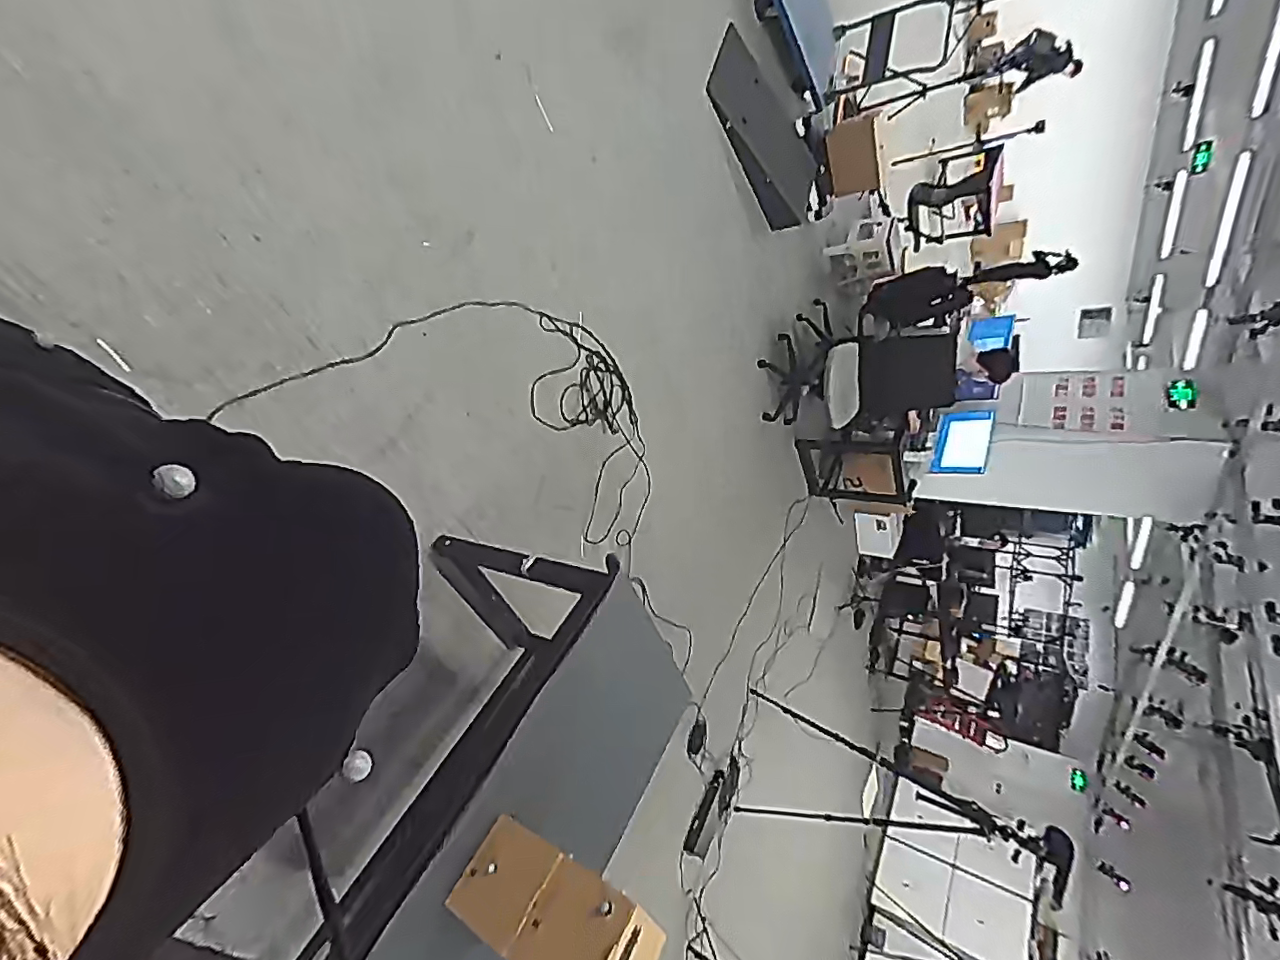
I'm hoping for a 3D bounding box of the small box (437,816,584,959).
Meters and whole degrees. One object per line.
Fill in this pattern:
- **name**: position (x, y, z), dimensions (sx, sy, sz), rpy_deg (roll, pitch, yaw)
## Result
- **small box**: position (-0.241, 0.776, 1.021), dimensions (0.168, 0.176, 0.179), rpy_deg (-53, 135, -37)
